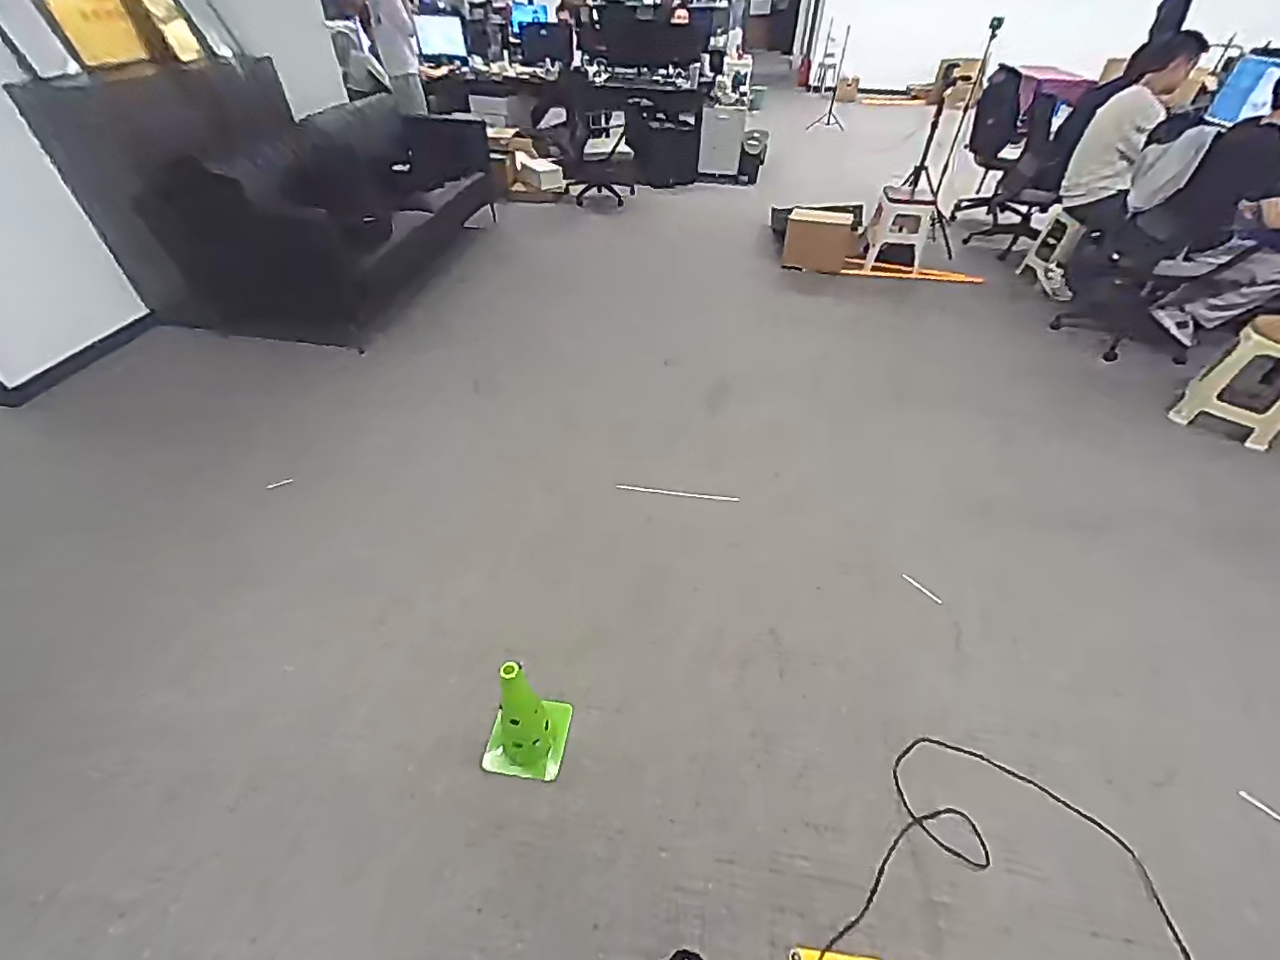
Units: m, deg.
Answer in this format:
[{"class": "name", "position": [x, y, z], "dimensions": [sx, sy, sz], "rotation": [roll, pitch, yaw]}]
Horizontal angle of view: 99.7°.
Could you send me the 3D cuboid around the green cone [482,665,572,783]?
[{"class": "green cone", "position": [-0.290, 0.558, 1.314], "dimensions": [0.202, 0.368, 0.200], "rotation": [7, 43, 4]}]
